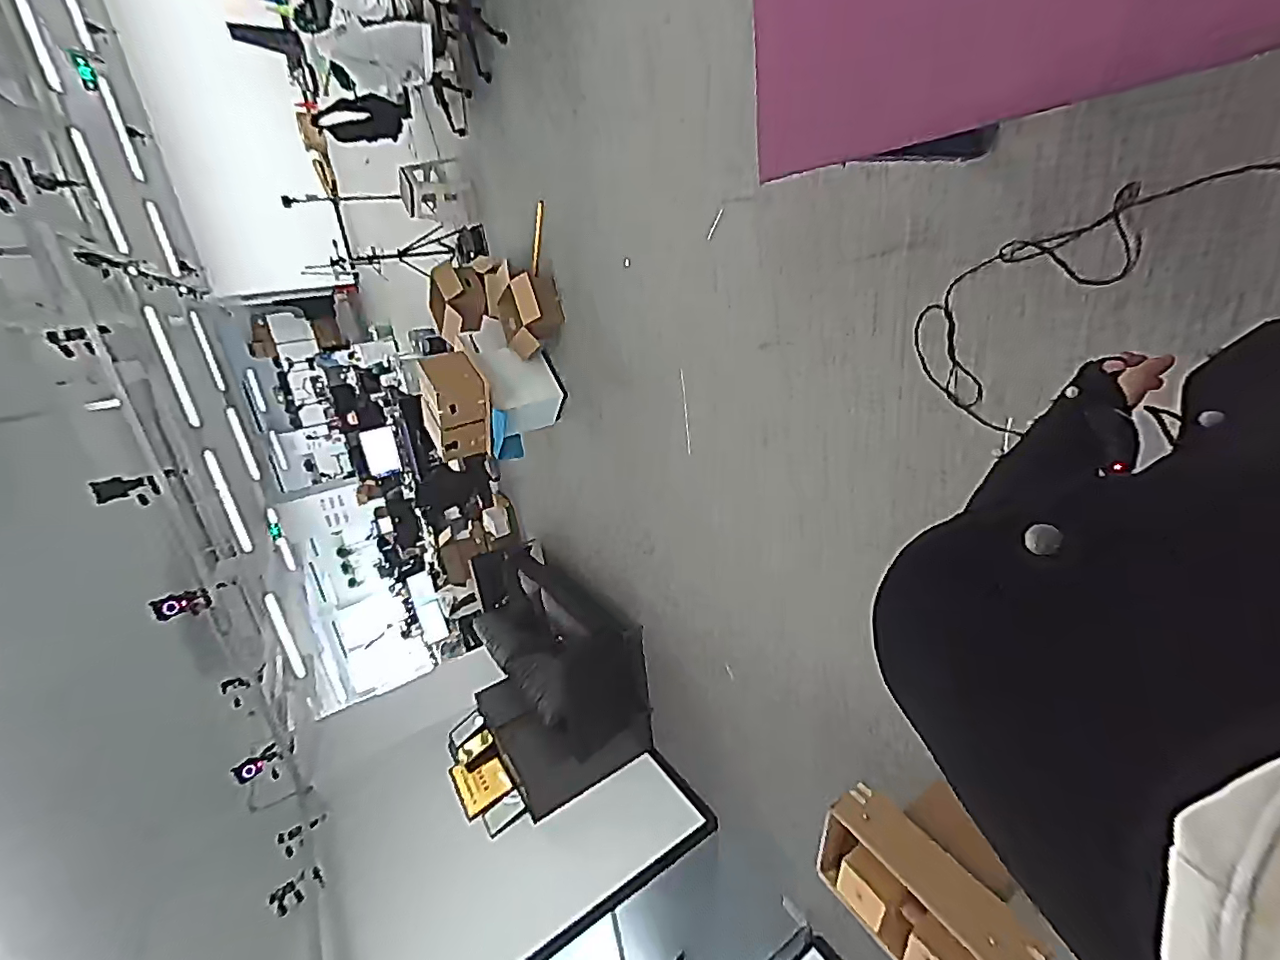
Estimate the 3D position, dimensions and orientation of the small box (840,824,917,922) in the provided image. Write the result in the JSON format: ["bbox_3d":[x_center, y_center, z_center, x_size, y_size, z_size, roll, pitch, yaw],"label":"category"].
[{"bbox_3d":[0.813,1.333,1.843,0.168,0.176,0.179,31,131,48],"label":"small box"}]
